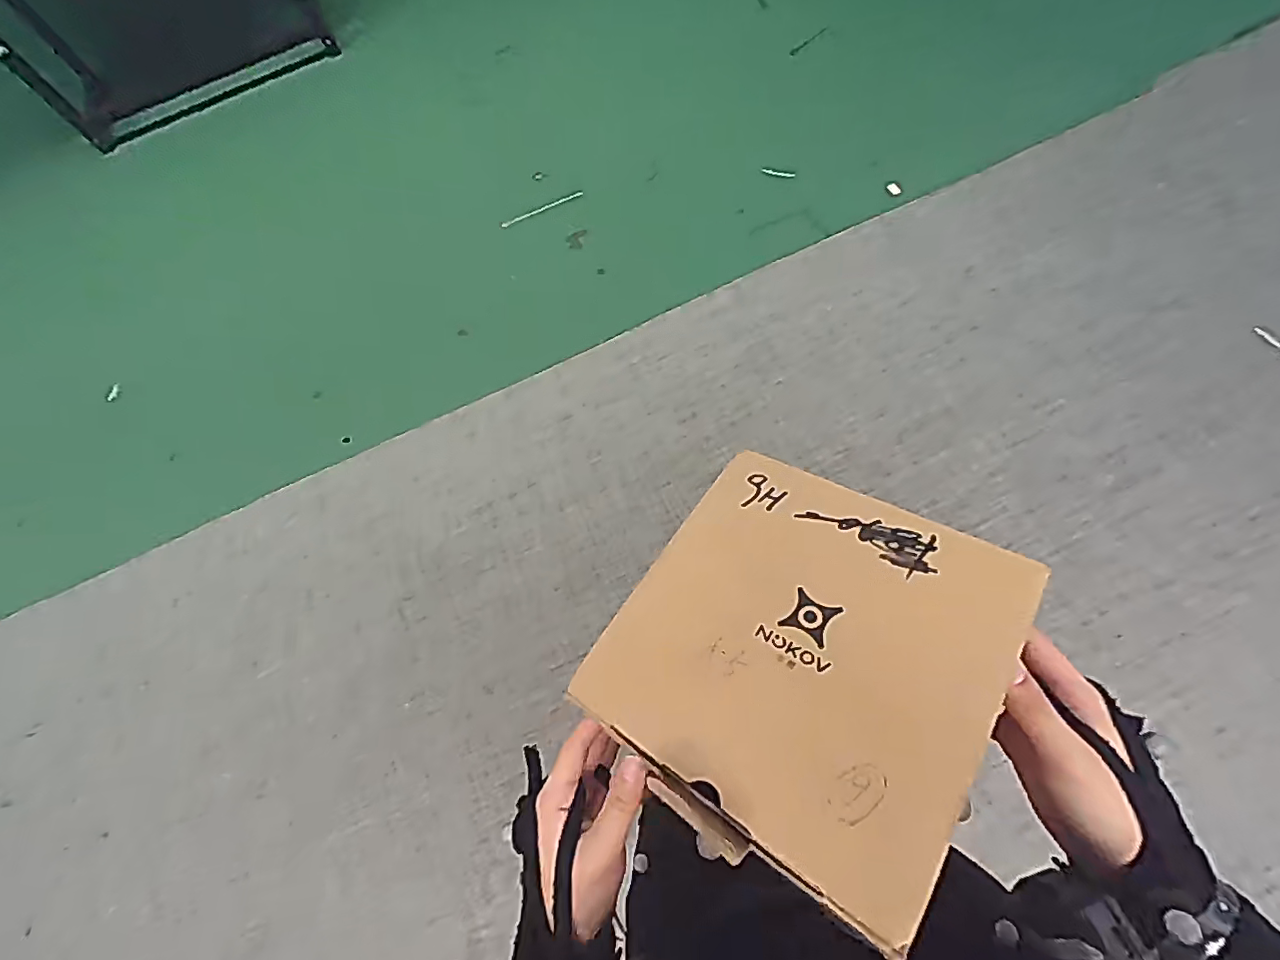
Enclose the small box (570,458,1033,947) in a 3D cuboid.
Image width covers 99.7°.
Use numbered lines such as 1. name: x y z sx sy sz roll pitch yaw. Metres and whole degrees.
1. small box: 0.093 0.124 0.327 0.168 0.176 0.179 26 65 30
